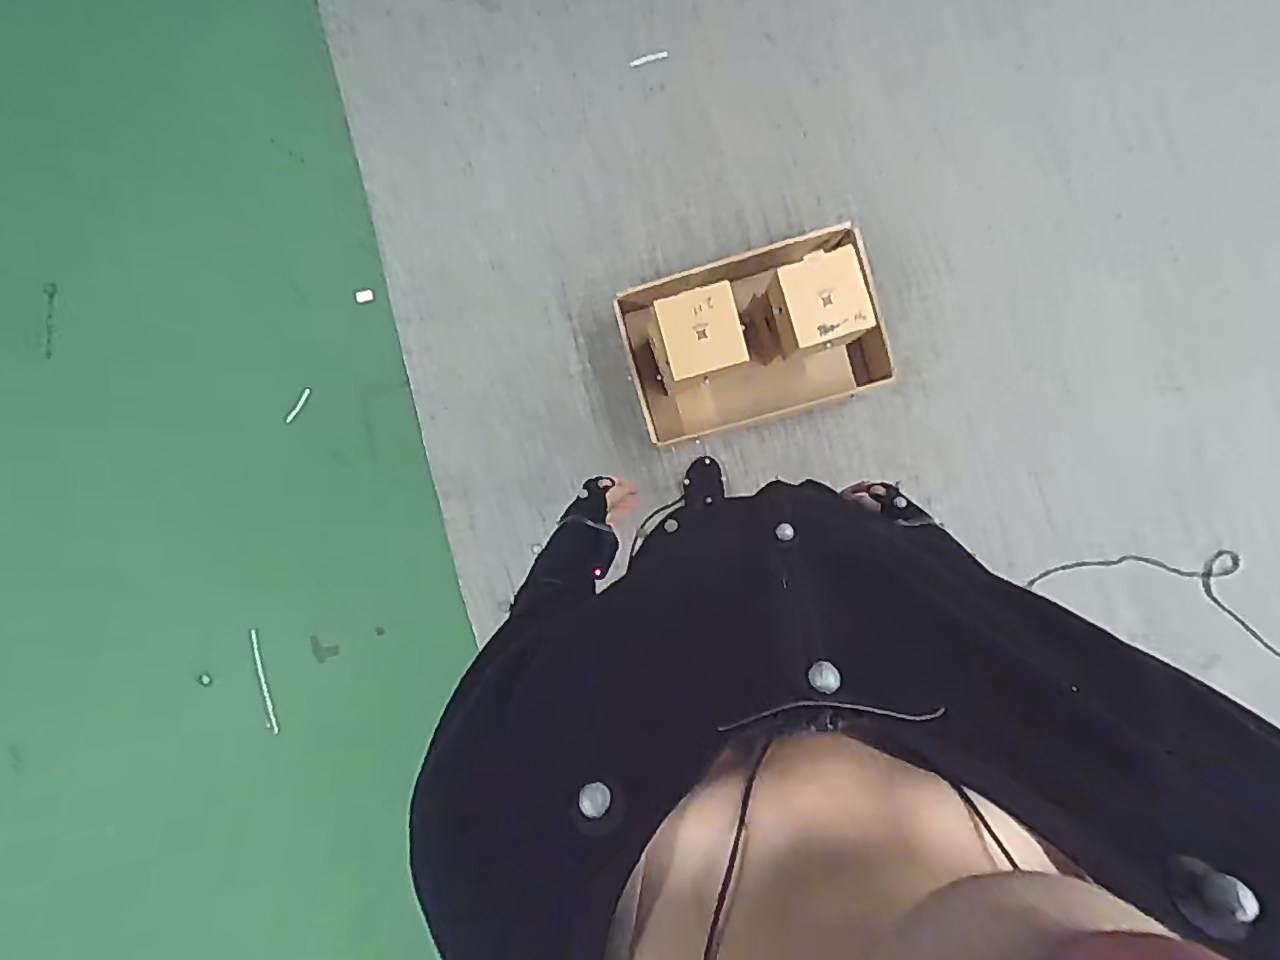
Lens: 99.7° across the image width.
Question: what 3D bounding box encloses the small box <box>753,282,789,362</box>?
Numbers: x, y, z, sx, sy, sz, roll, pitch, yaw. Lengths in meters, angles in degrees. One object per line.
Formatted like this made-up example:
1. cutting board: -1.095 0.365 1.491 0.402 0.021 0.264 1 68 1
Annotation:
1. small box: 0.392 -0.409 1.356 0.179 0.176 0.168 -20 92 3

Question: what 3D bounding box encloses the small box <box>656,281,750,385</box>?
1. small box: 0.138 -0.317 1.211 0.168 0.176 0.179 -15 92 3

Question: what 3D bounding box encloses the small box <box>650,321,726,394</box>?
1. small box: 0.135 -0.328 1.375 0.179 0.176 0.168 -19 91 2

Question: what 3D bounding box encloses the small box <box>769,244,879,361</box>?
1. small box: 0.396 -0.382 1.194 0.168 0.176 0.179 -17 90 5
